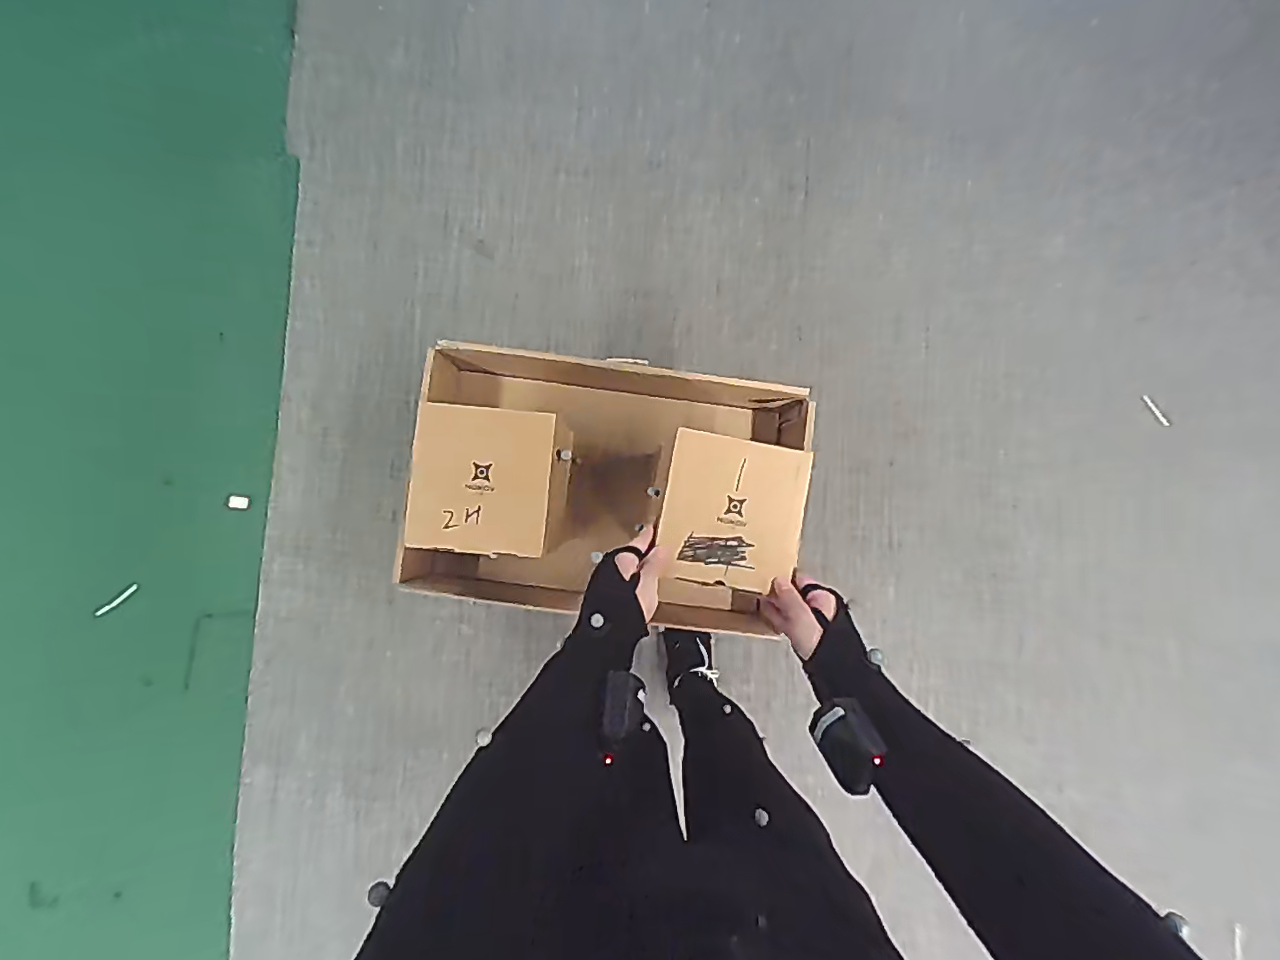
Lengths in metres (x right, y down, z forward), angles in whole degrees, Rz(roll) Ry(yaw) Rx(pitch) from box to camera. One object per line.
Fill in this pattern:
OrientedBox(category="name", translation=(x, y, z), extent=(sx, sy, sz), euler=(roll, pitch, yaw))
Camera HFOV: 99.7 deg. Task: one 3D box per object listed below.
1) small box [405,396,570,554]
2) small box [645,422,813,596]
OrientedBox(category="small box", translation=(-0.188, -0.002, 0.718), extent=(0.168, 0.176, 0.179), euler=(5, 87, -1))
OrientedBox(category="small box", translation=(0.102, 0.036, 0.702), extent=(0.168, 0.176, 0.179), euler=(12, 87, -3))
